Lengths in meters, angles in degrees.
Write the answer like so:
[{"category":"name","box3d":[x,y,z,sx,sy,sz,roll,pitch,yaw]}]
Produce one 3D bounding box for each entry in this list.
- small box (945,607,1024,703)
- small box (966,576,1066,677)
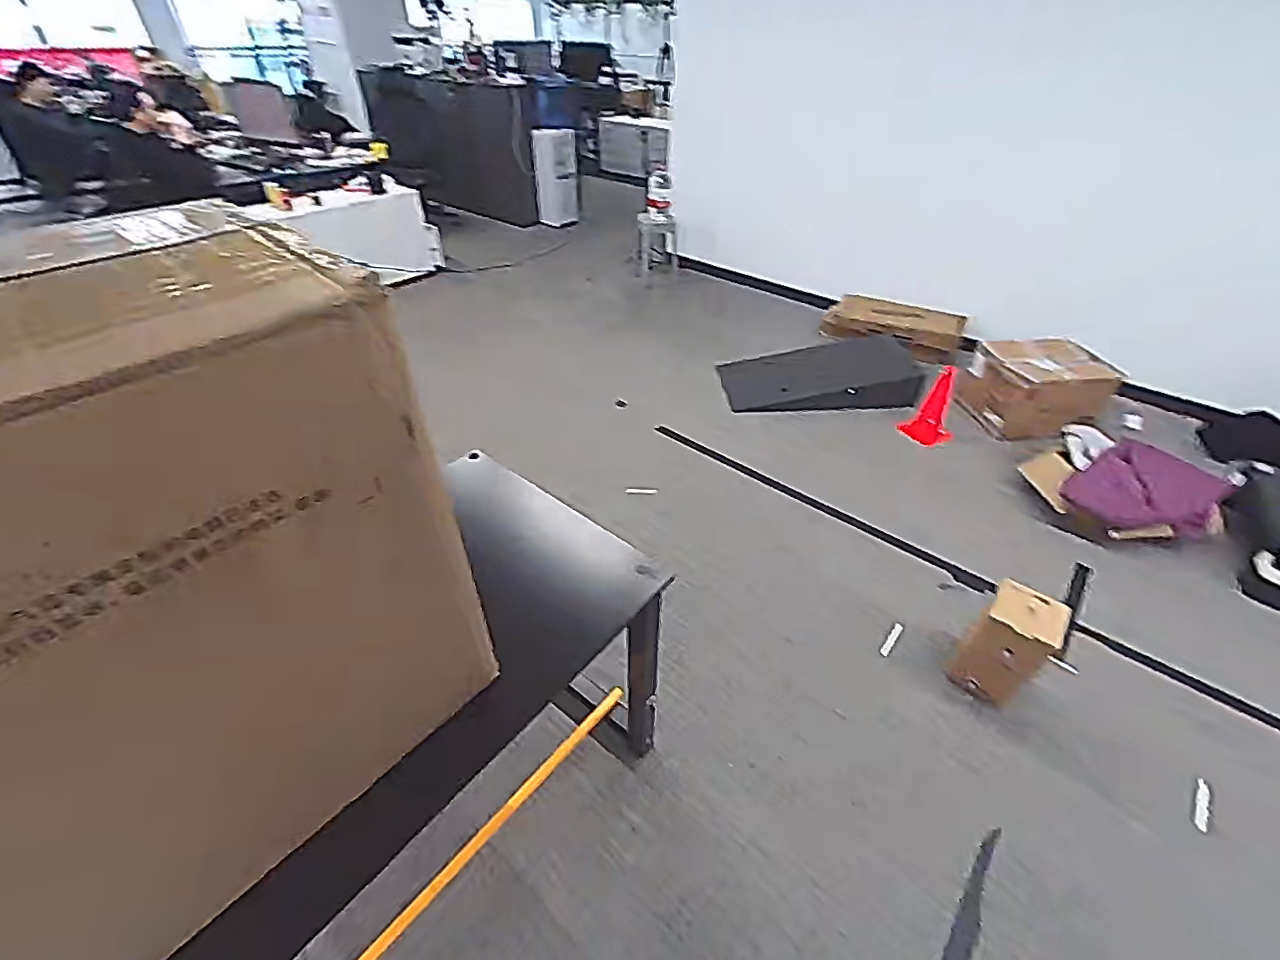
[{"category":"small box","box3d":[1.051,0.528,1.630,0.168,0.176,0.179,27,48,29]},{"category":"small box","box3d":[1.044,0.412,1.513,0.168,0.176,0.179,28,48,30]}]
